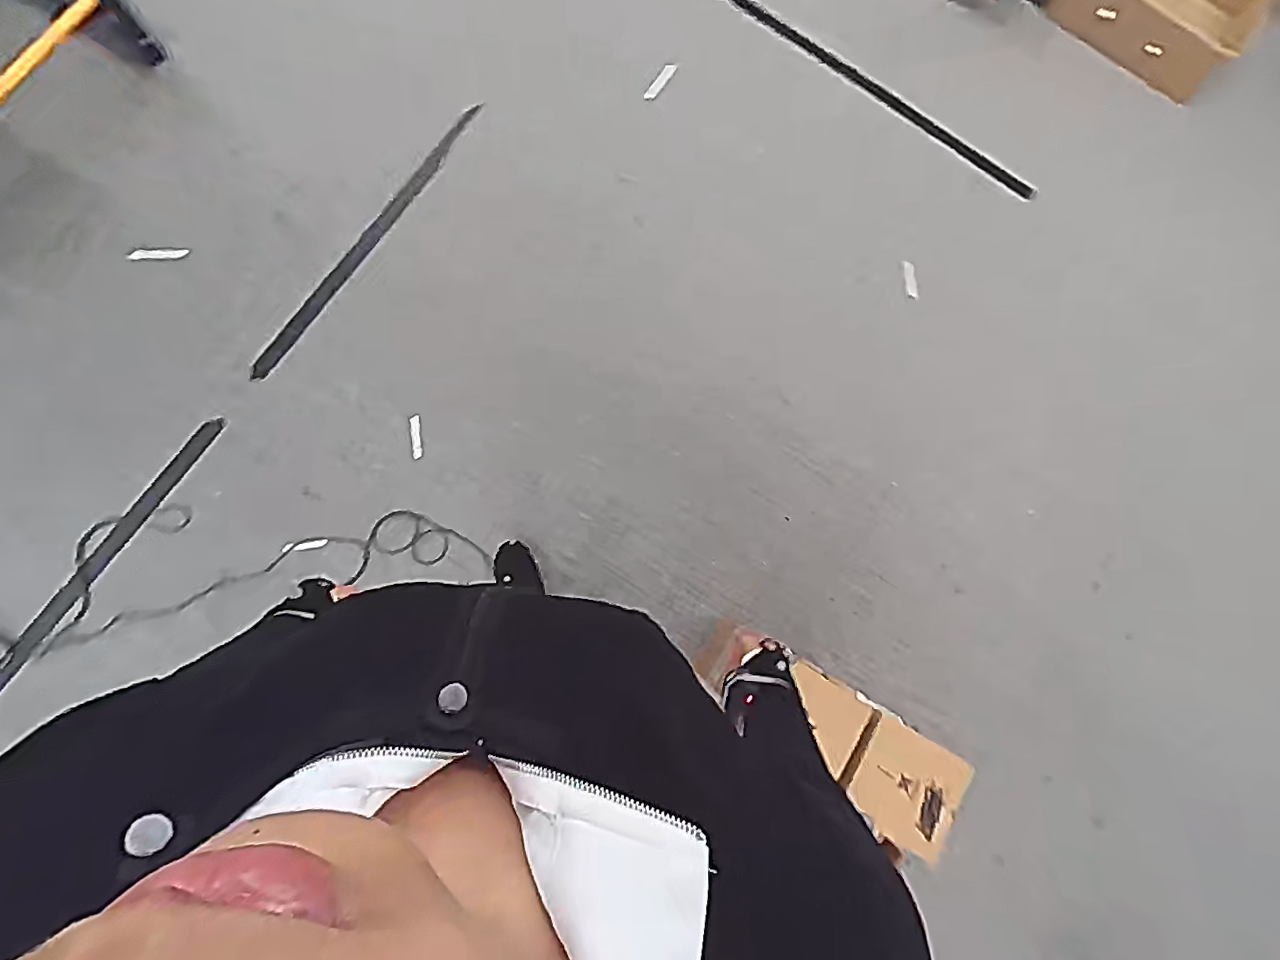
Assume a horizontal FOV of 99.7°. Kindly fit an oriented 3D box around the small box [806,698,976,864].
[{"bbox_3d":[0.425,0.505,0.941,0.179,0.176,0.168,32,78,2],"label":"small box"}]
